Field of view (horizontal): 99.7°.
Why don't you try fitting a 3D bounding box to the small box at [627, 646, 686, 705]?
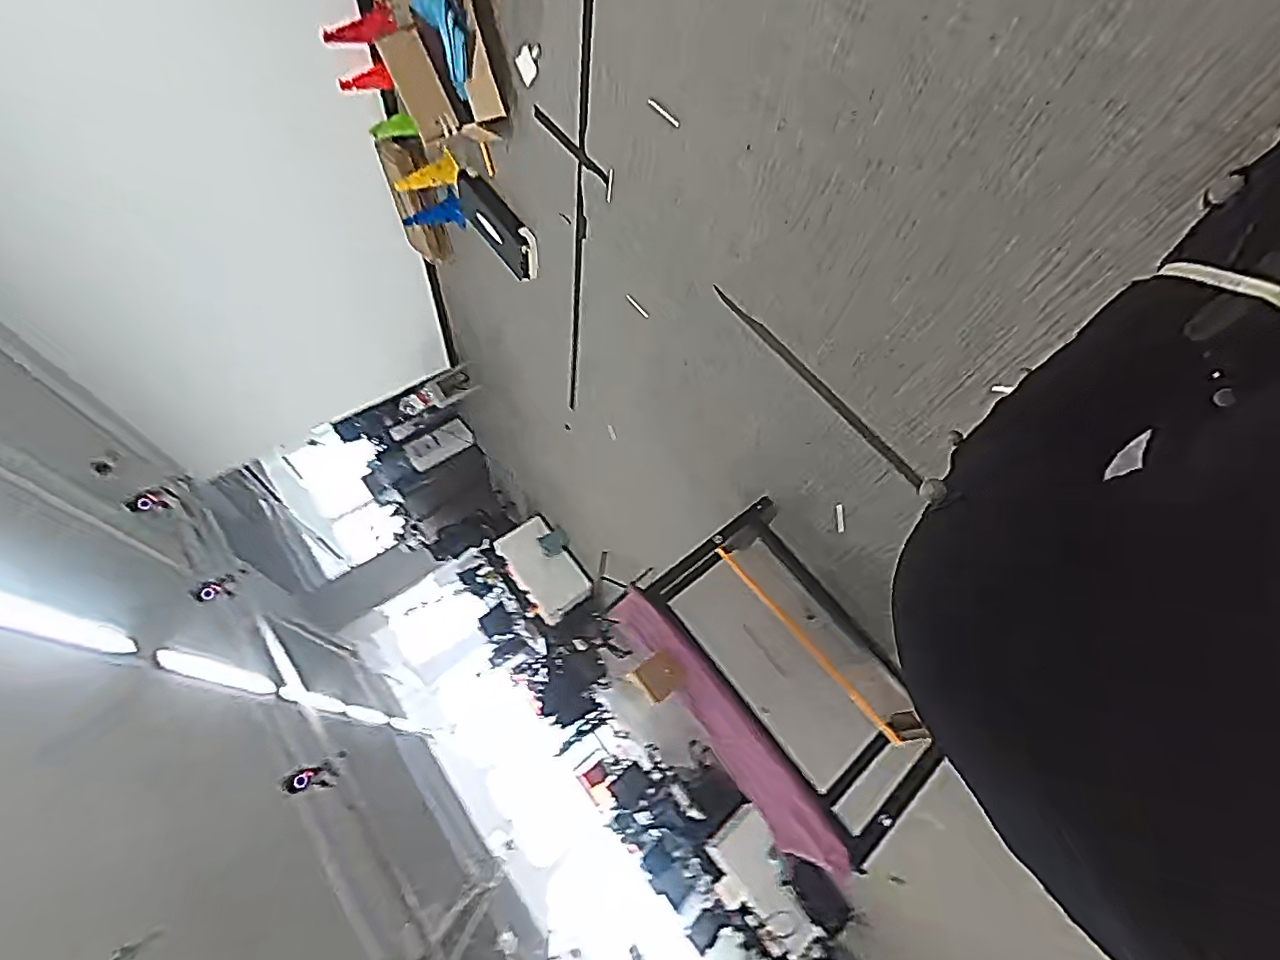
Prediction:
[{"bbox_3d":[0.069,0.825,2.282,0.168,0.176,0.179,51,156,13],"label":"small box"}]
